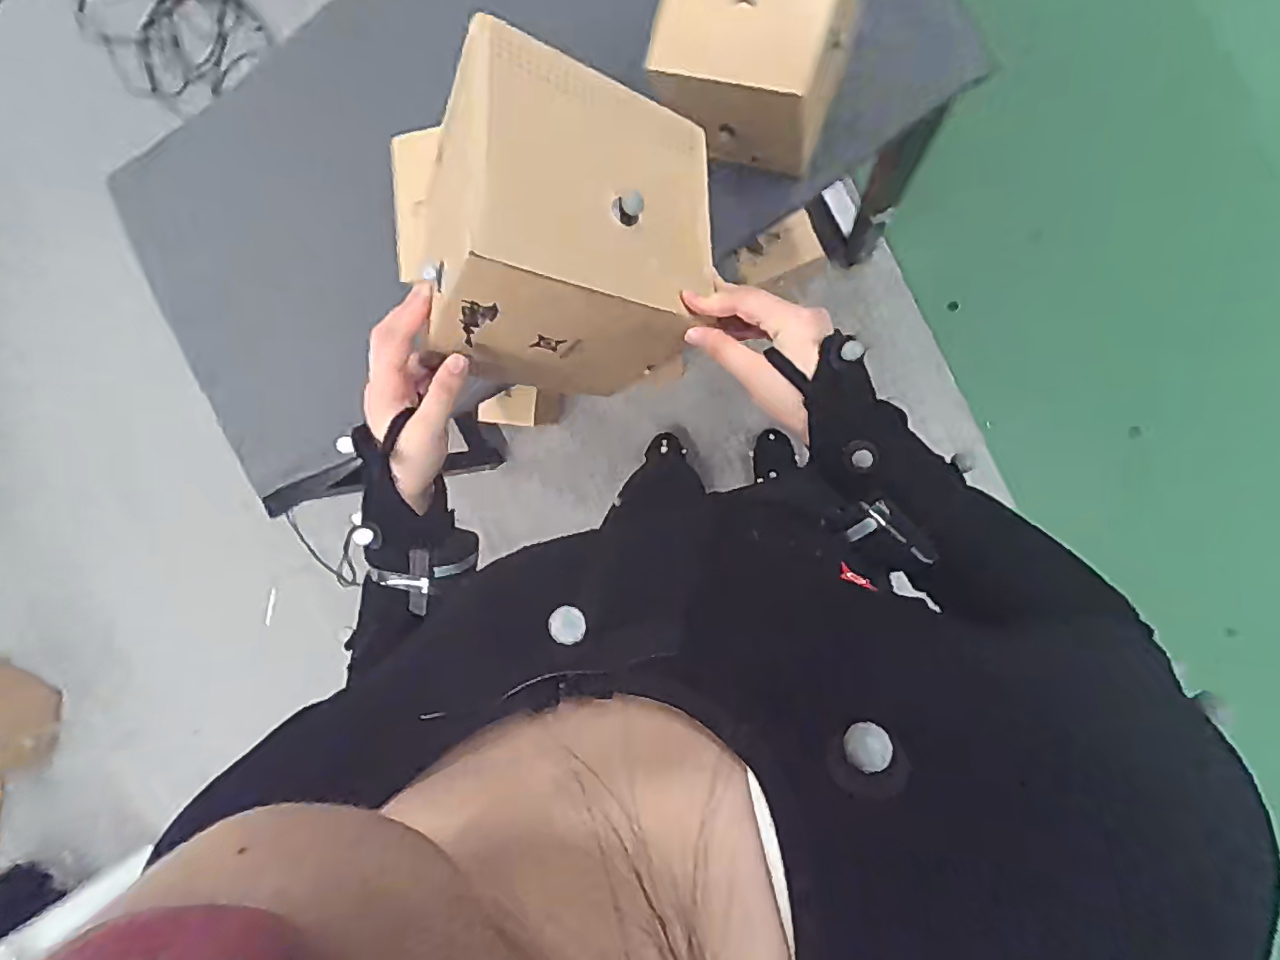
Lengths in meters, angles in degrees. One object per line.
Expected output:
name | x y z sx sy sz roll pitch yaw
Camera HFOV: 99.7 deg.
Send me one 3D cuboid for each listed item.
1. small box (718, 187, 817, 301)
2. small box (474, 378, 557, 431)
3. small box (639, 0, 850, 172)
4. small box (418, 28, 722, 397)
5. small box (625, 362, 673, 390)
small box | 0.303 -0.548 1.285 0.179 0.176 0.168 -22 91 14
small box | -0.333 -0.230 1.477 0.168 0.176 0.179 7 97 13
small box | 0.121 -0.465 0.580 0.168 0.176 0.179 20 100 14
small box | -0.058 -0.176 0.408 0.168 0.179 0.176 -18 70 56
small box | -0.021 -0.331 1.389 0.179 0.176 0.168 -13 92 16
